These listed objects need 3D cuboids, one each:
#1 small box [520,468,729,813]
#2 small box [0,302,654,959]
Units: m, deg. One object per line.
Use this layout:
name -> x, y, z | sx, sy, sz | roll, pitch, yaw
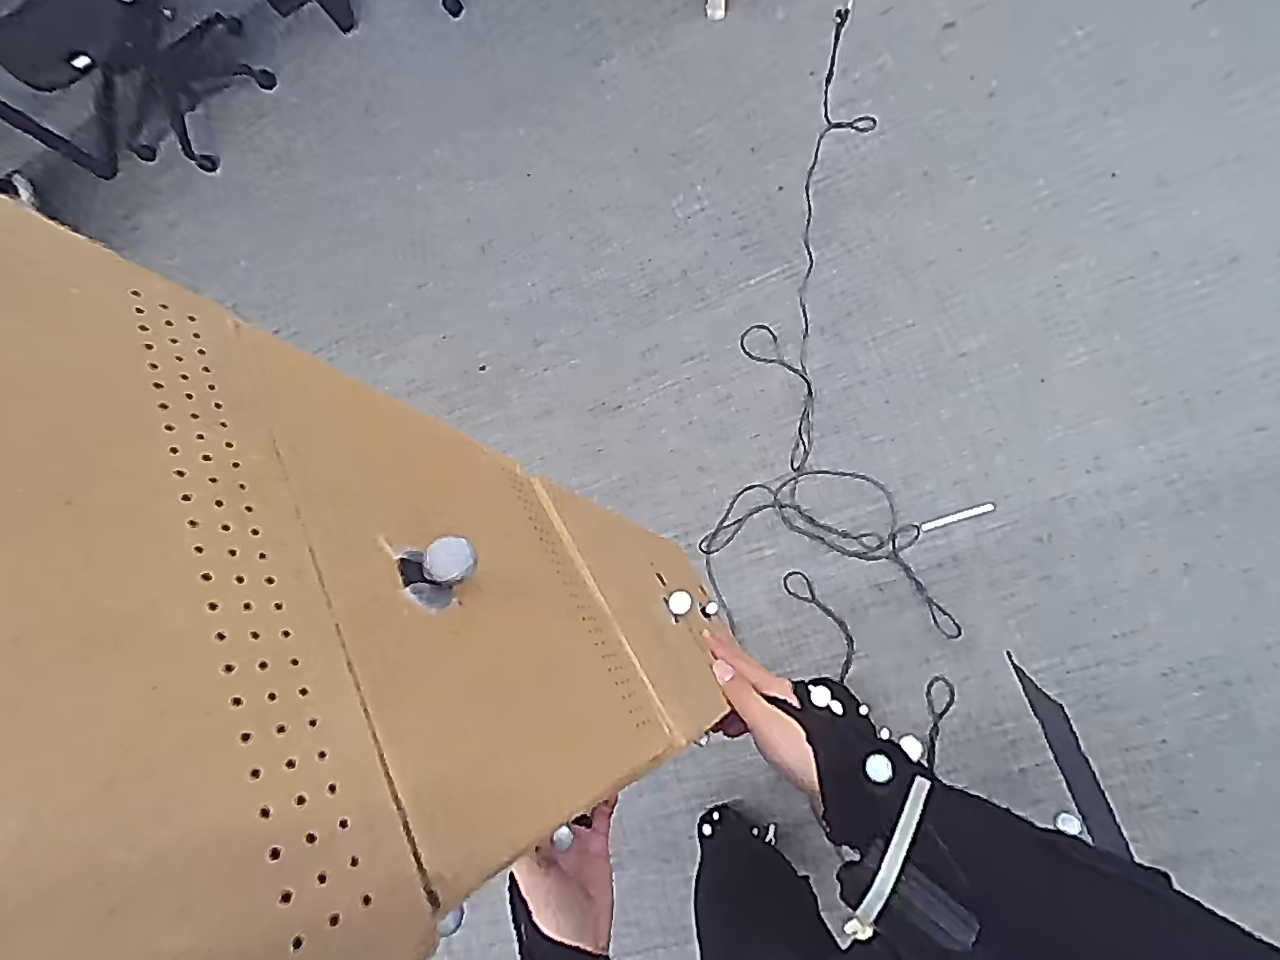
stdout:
small box -> -0.063, 0.123, 0.359 | 0.179, 0.176, 0.168 | -35, 68, 7
small box -> -0.120, 0.077, 0.214 | 0.168, 0.176, 0.179 | -36, 68, 7
